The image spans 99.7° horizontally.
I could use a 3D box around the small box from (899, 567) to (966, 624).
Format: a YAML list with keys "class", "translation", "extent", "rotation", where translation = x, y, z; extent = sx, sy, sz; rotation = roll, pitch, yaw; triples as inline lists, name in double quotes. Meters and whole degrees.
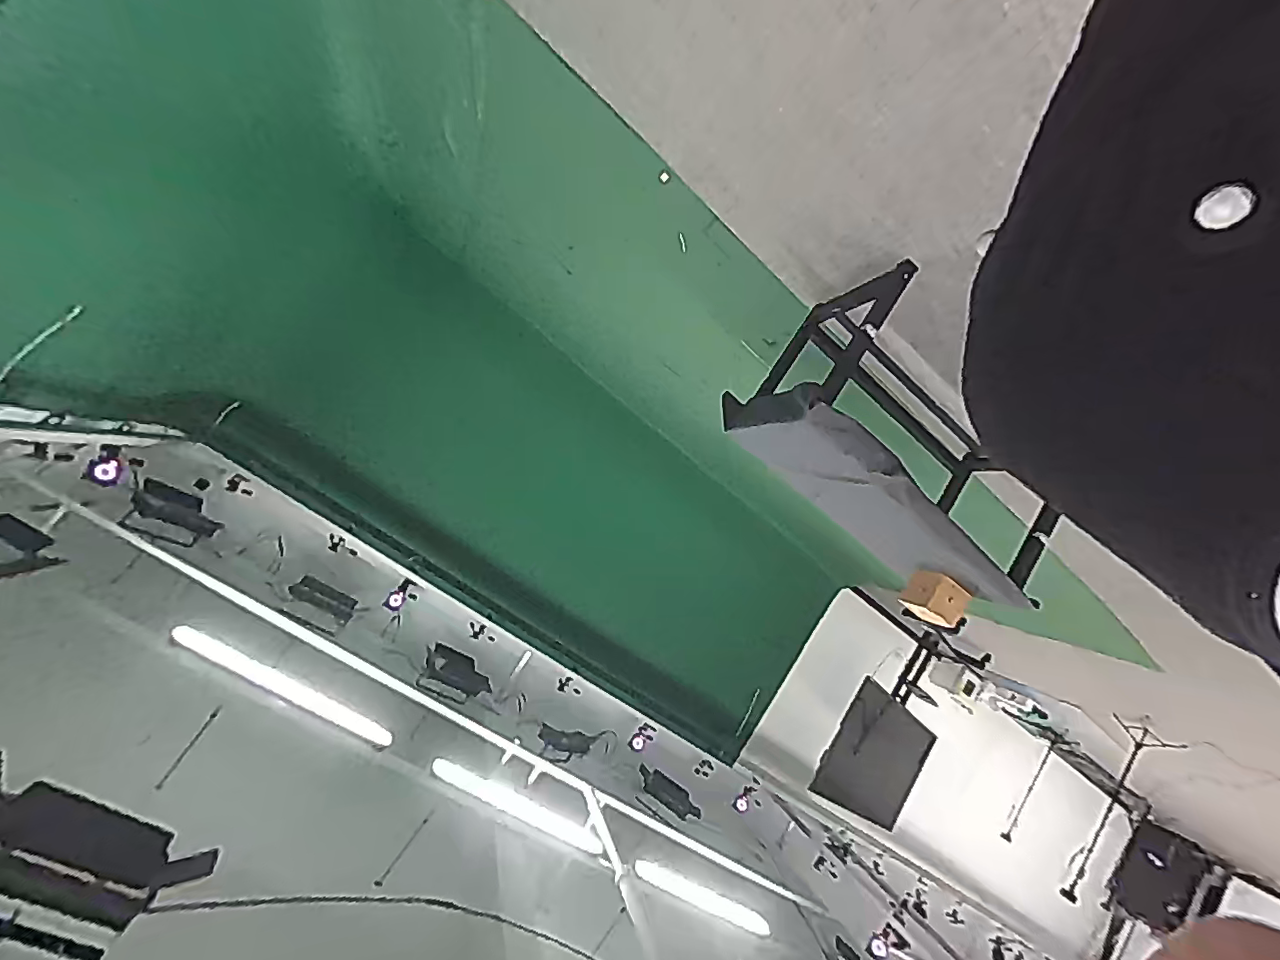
- class: "small box"
  translation: [1.274, 0.492, 2.339]
  extent: [0.168, 0.176, 0.179]
  rotation: [37, 170, -11]
